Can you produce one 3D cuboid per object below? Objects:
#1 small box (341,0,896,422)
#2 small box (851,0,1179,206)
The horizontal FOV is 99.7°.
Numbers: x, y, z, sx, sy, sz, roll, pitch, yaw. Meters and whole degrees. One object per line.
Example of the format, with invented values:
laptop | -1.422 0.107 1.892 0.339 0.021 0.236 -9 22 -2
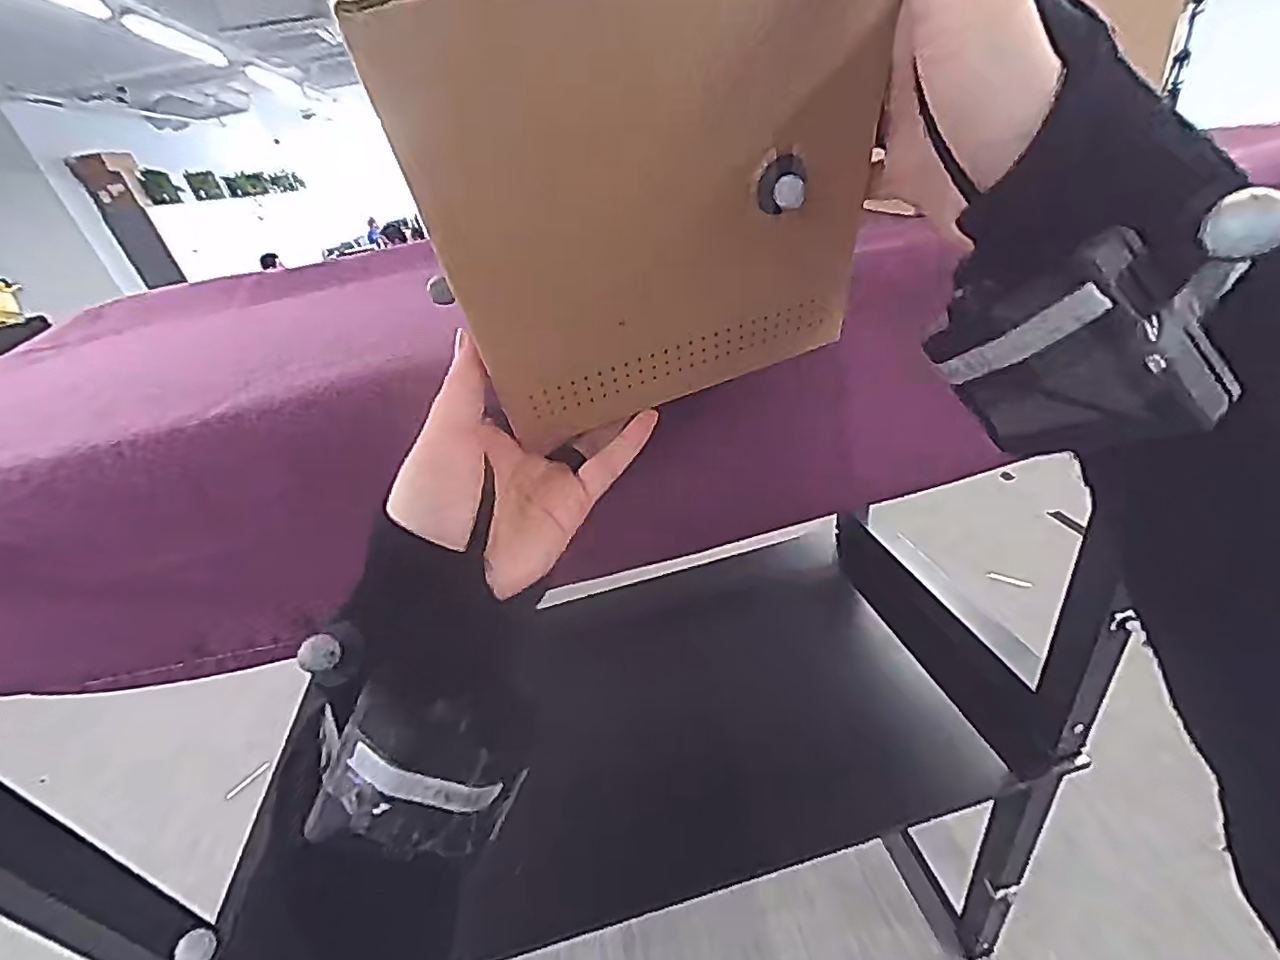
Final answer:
small box | -0.013 -0.158 0.257 0.179 0.176 0.168 -21 49 -7
small box | 0.270 -0.331 0.429 0.179 0.176 0.168 -13 30 0
